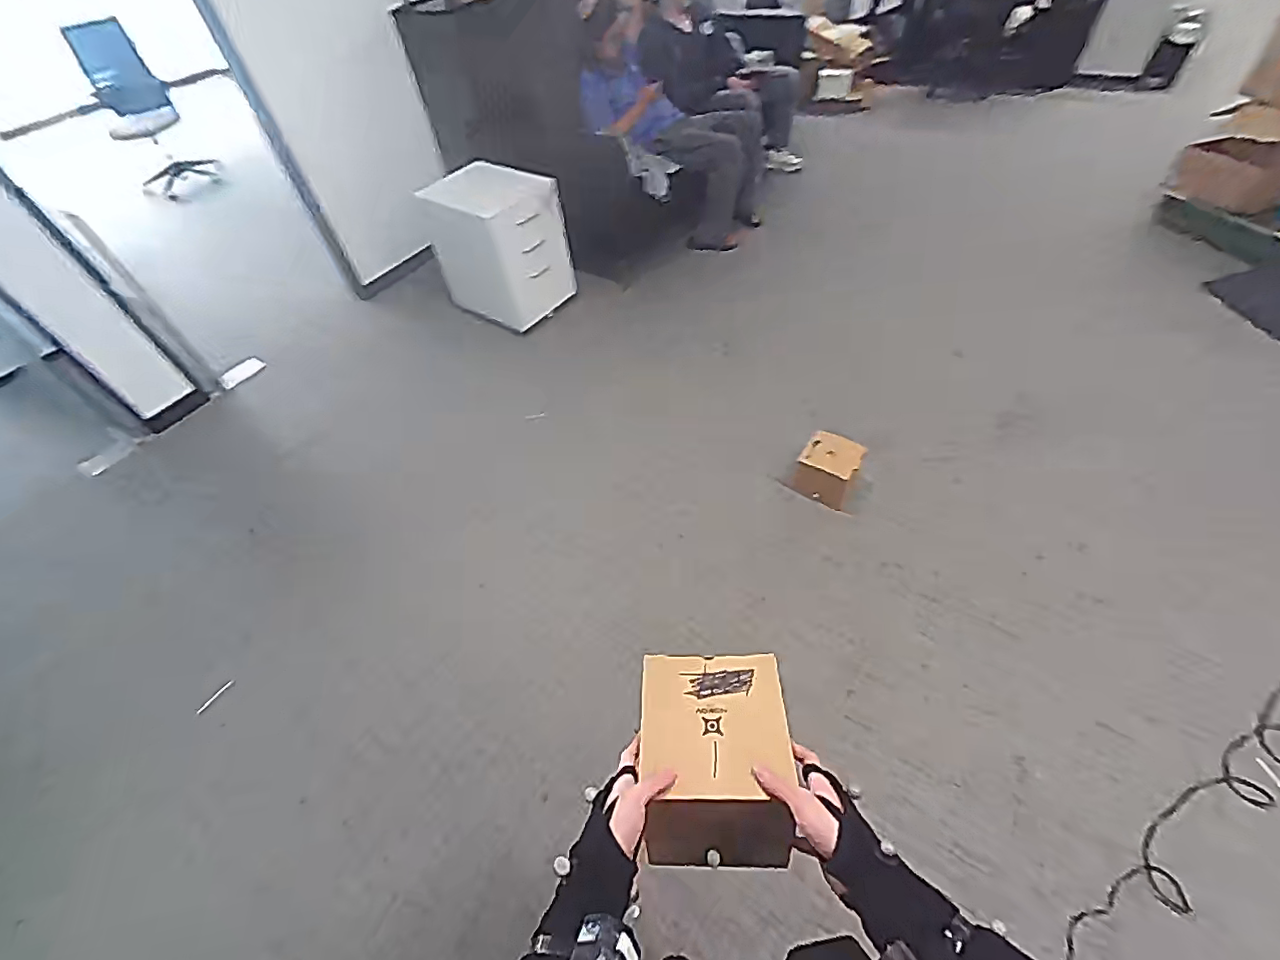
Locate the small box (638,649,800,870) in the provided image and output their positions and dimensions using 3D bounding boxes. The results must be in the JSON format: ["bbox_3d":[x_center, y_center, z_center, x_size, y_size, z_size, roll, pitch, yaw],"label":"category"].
[{"bbox_3d":[0.091,0.331,0.654,0.168,0.176,0.179,0,35,7],"label":"small box"}]

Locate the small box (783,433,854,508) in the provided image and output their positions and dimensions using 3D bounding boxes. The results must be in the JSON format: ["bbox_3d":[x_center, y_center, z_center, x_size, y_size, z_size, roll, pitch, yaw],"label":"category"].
[{"bbox_3d":[0.617,-0.027,1.884,0.179,0.176,0.168,24,58,23],"label":"small box"}]
